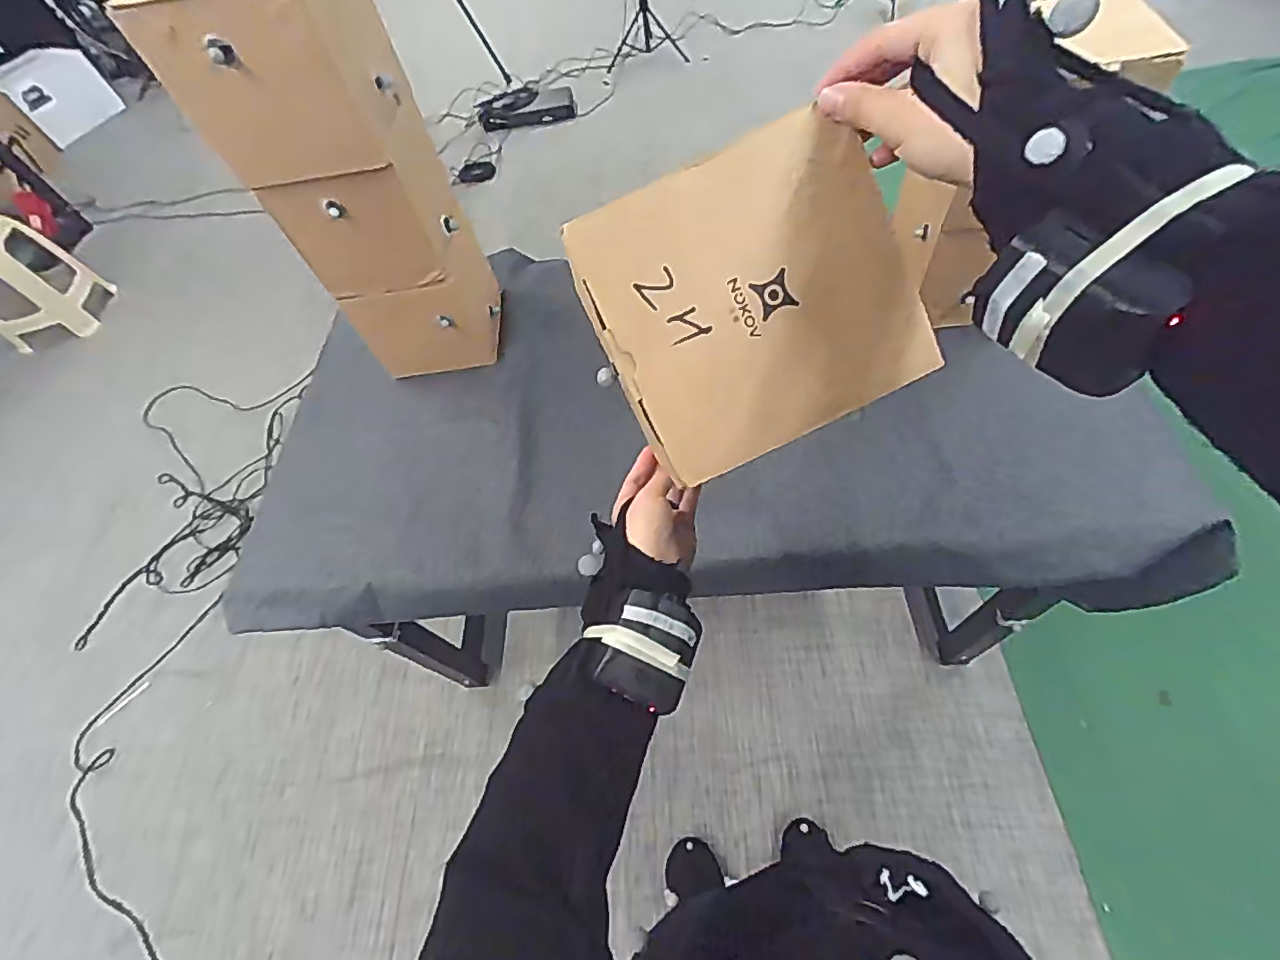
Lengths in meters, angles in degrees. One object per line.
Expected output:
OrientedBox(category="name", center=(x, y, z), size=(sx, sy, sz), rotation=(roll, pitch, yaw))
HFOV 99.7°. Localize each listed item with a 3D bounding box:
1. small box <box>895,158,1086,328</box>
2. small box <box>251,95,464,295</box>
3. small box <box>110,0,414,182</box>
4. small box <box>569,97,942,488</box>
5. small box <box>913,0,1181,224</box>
OrientedBox(category="small box", center=(0.463, -0.339, 0.762), size=(0.168, 0.176, 0.179), rotation=(-3, 60, 8))
OrientedBox(category="small box", center=(-0.357, -0.370, 0.721), size=(0.179, 0.176, 0.168), rotation=(-7, 60, 3))
OrientedBox(category="small box", center=(-0.374, -0.445, 0.576), size=(0.179, 0.176, 0.168), rotation=(-6, 60, 4))
OrientedBox(category="small box", center=(0.065, -0.115, 0.387), size=(0.179, 0.176, 0.168), rotation=(-25, 99, 1))
OrientedBox(category="small box", center=(0.437, -0.417, 0.620), size=(0.168, 0.176, 0.179), rotation=(-2, 61, 8))
